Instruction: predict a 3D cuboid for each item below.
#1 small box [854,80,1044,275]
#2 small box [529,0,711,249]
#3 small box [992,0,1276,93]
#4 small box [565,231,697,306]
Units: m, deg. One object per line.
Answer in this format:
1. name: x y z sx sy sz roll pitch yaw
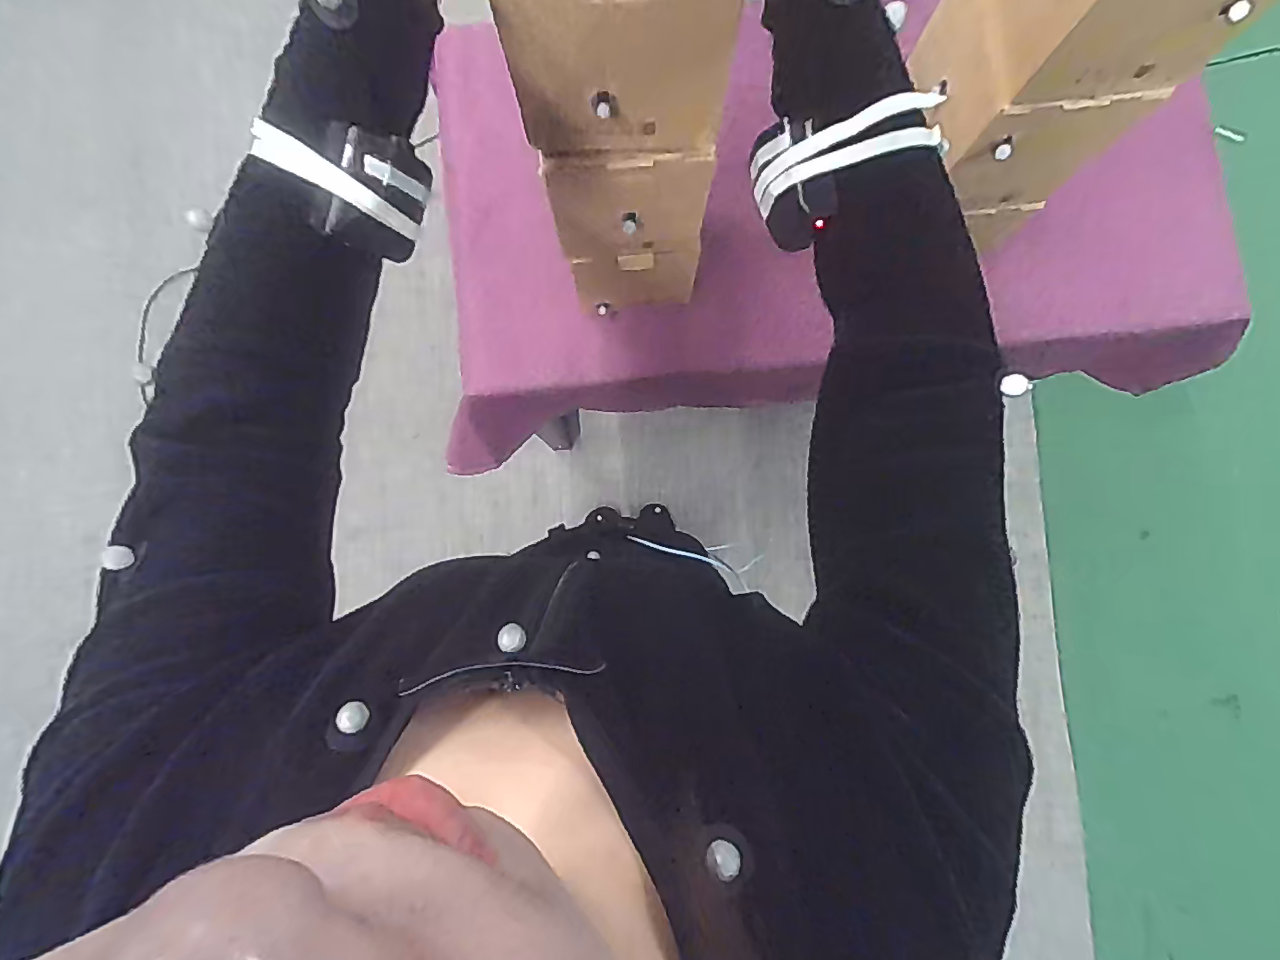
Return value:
1. small box: 0.413 -0.410 0.754 0.168 0.176 0.179 -3 86 0
2. small box: -0.019 -0.368 0.585 0.168 0.176 0.179 -4 86 -1
3. small box: 0.412 -0.445 0.428 0.168 0.176 0.179 -6 85 -1
4. small box: -0.017 -0.354 0.749 0.168 0.176 0.179 -6 84 -1
